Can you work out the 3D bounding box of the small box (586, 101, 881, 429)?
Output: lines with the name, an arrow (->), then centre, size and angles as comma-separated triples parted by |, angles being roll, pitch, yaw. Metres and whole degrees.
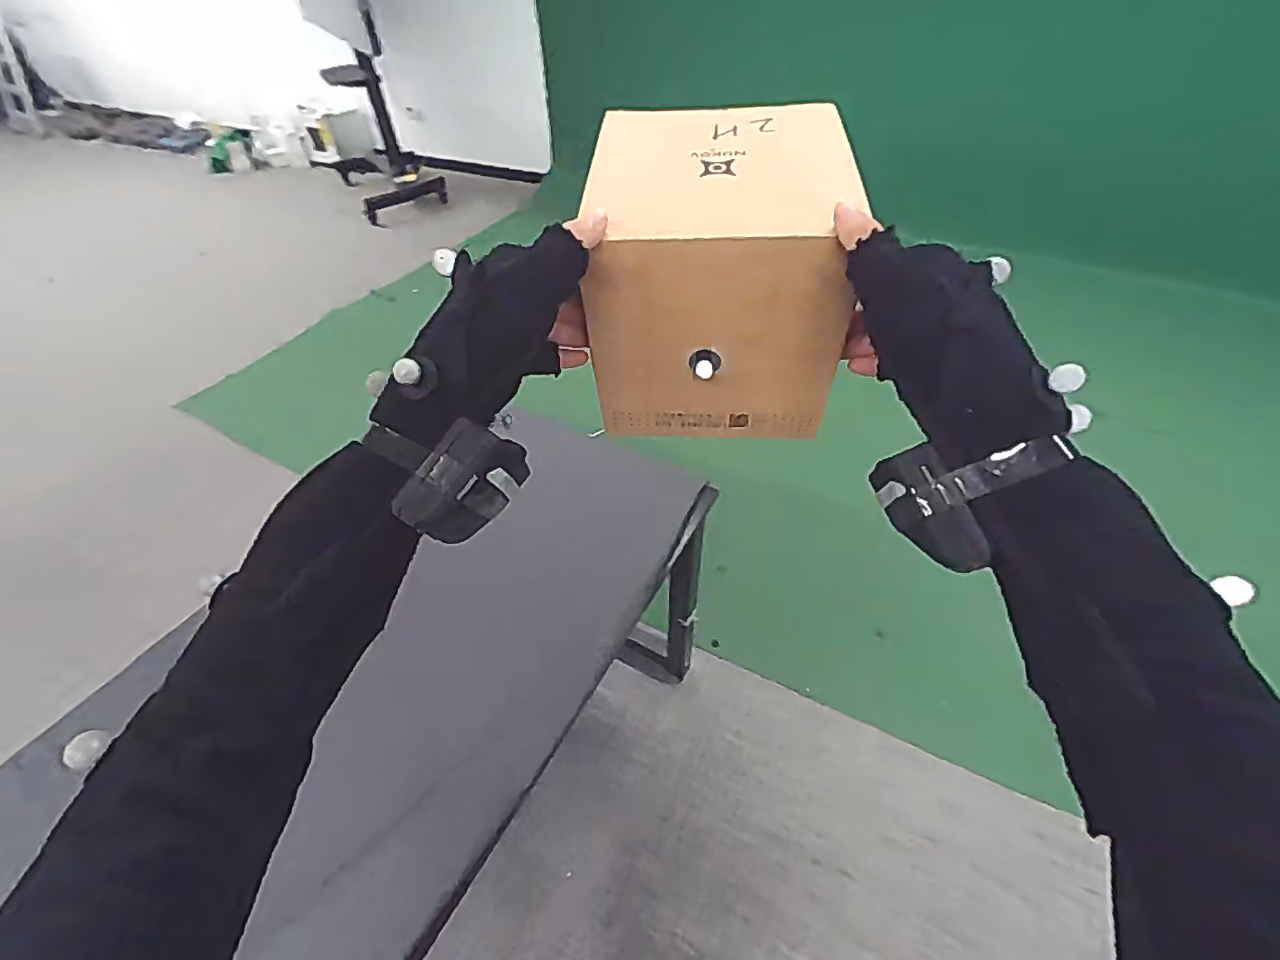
small box -> 0.063, -0.154, 0.409 | 0.168, 0.176, 0.179 | 2, 54, 6
